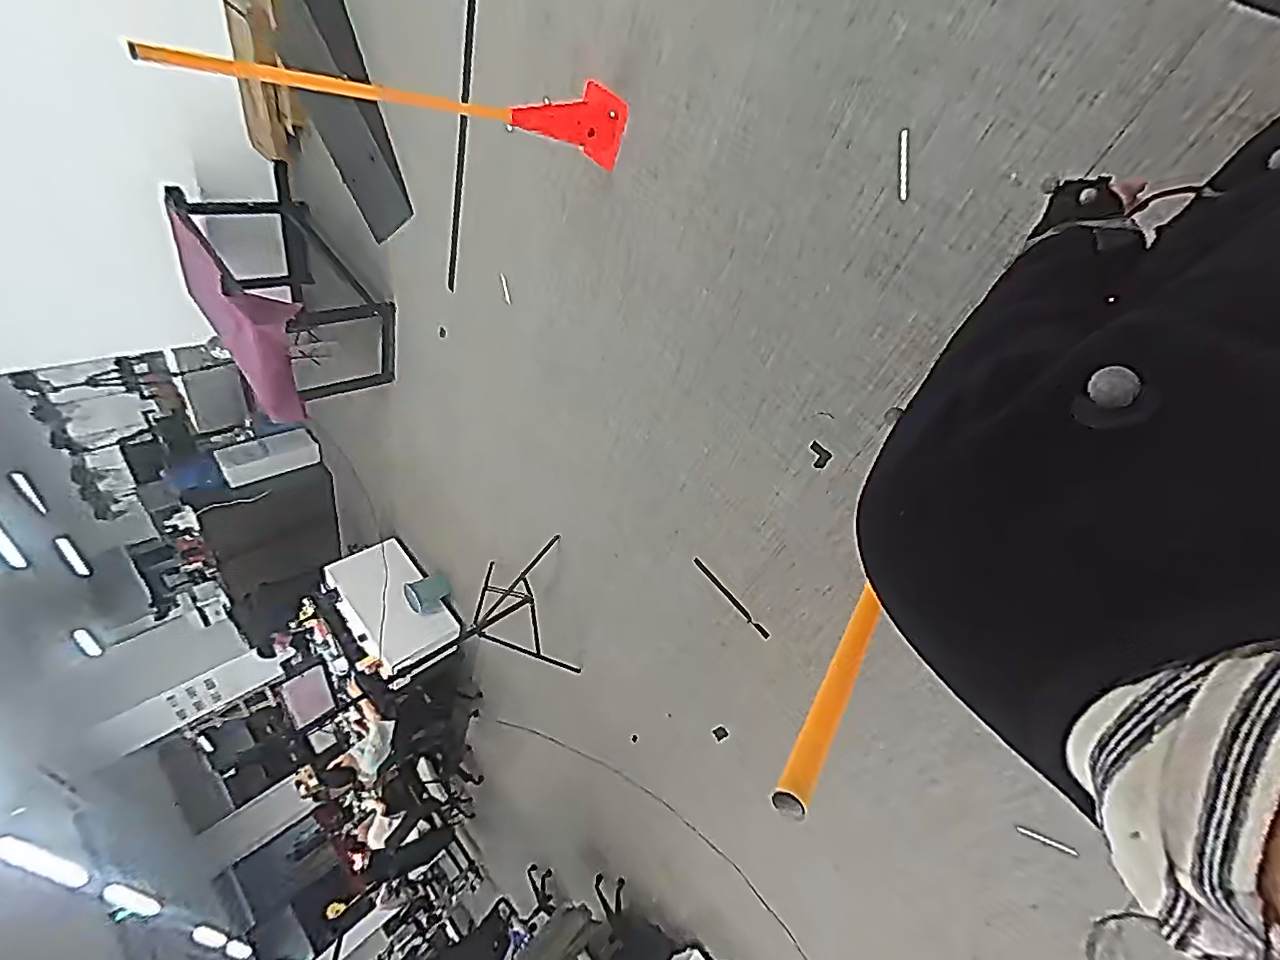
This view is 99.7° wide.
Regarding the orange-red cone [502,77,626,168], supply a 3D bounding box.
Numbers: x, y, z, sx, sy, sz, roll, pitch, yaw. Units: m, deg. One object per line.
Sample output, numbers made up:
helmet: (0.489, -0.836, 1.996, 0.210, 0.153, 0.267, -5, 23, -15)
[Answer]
orange-red cone: (-0.252, -1.077, 1.610, 0.199, 0.360, 0.198, 48, 137, 18)
